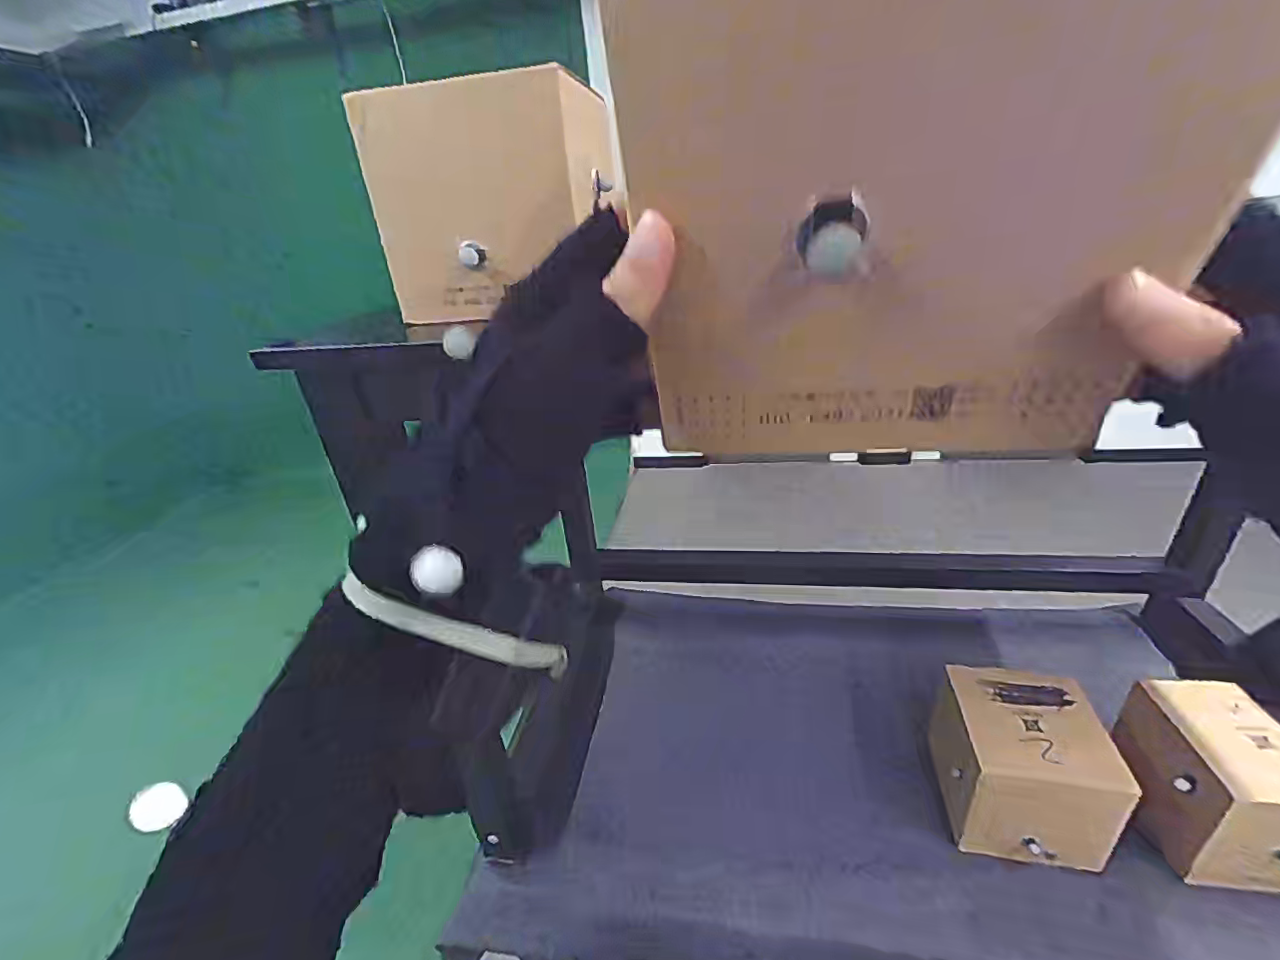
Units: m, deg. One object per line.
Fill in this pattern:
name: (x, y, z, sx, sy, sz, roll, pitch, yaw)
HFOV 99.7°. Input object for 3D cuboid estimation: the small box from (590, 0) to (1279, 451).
small box: (0.090, -0.125, 0.227, 0.168, 0.176, 0.179, -1, 45, 11)

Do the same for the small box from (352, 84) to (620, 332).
small box: (-0.116, -0.237, 0.495, 0.168, 0.176, 0.179, -1, 28, 10)

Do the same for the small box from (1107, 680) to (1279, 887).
small box: (0.757, 0.387, 0.692, 0.168, 0.176, 0.179, -1, 26, 10)
